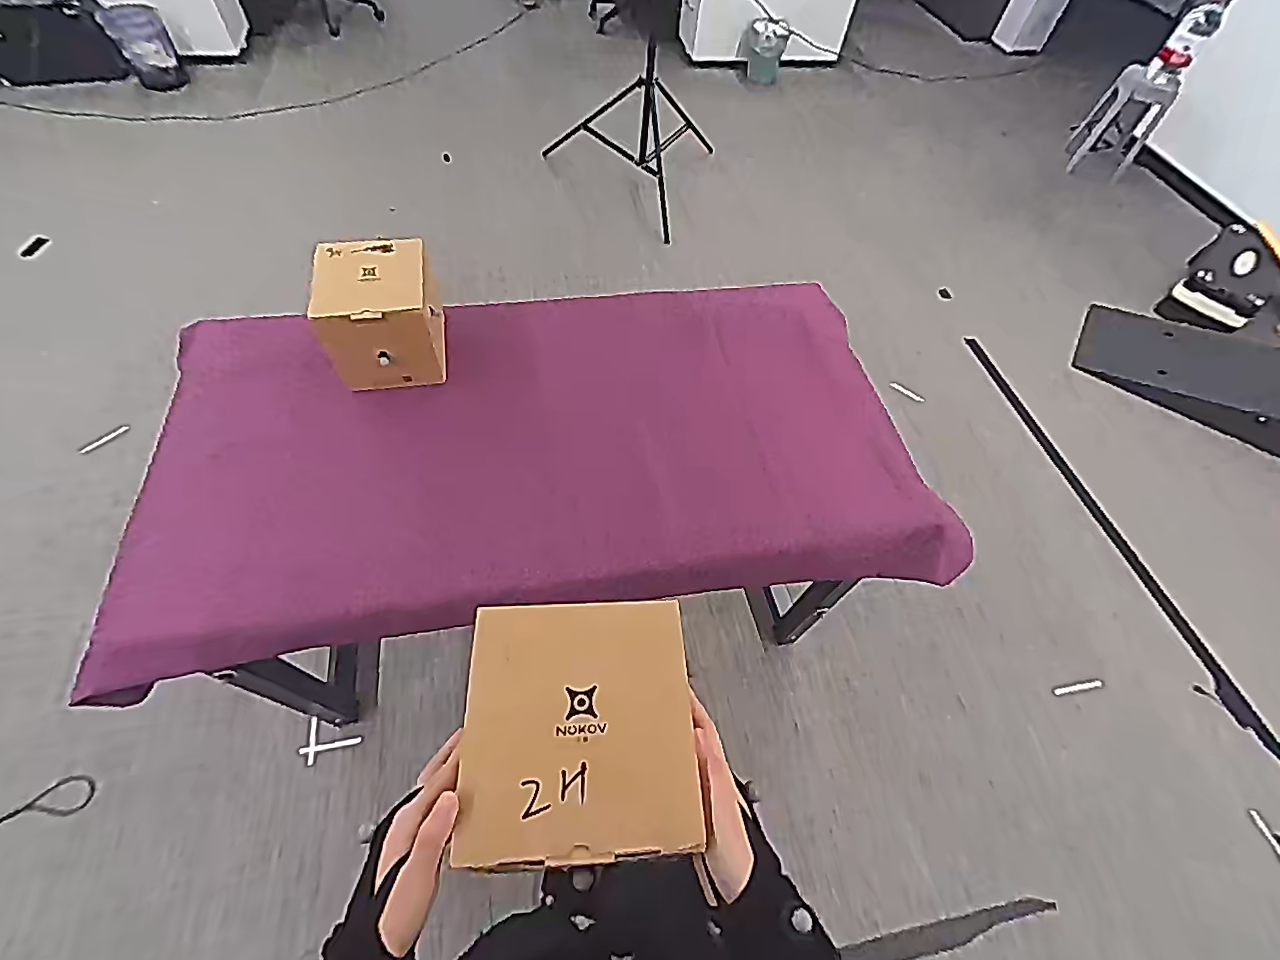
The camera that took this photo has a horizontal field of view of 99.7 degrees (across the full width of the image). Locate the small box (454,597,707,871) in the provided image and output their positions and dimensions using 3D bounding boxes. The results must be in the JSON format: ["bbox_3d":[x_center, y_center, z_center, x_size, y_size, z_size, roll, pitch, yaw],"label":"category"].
[{"bbox_3d":[-0.046,0.216,0.458,0.168,0.176,0.179,-1,53,-4],"label":"small box"}]

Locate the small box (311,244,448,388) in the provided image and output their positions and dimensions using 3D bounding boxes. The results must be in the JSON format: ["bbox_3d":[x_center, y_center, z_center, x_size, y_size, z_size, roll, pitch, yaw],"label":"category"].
[{"bbox_3d":[-0.430,-0.270,0.919,0.168,0.176,0.179,-8,60,-10],"label":"small box"}]
